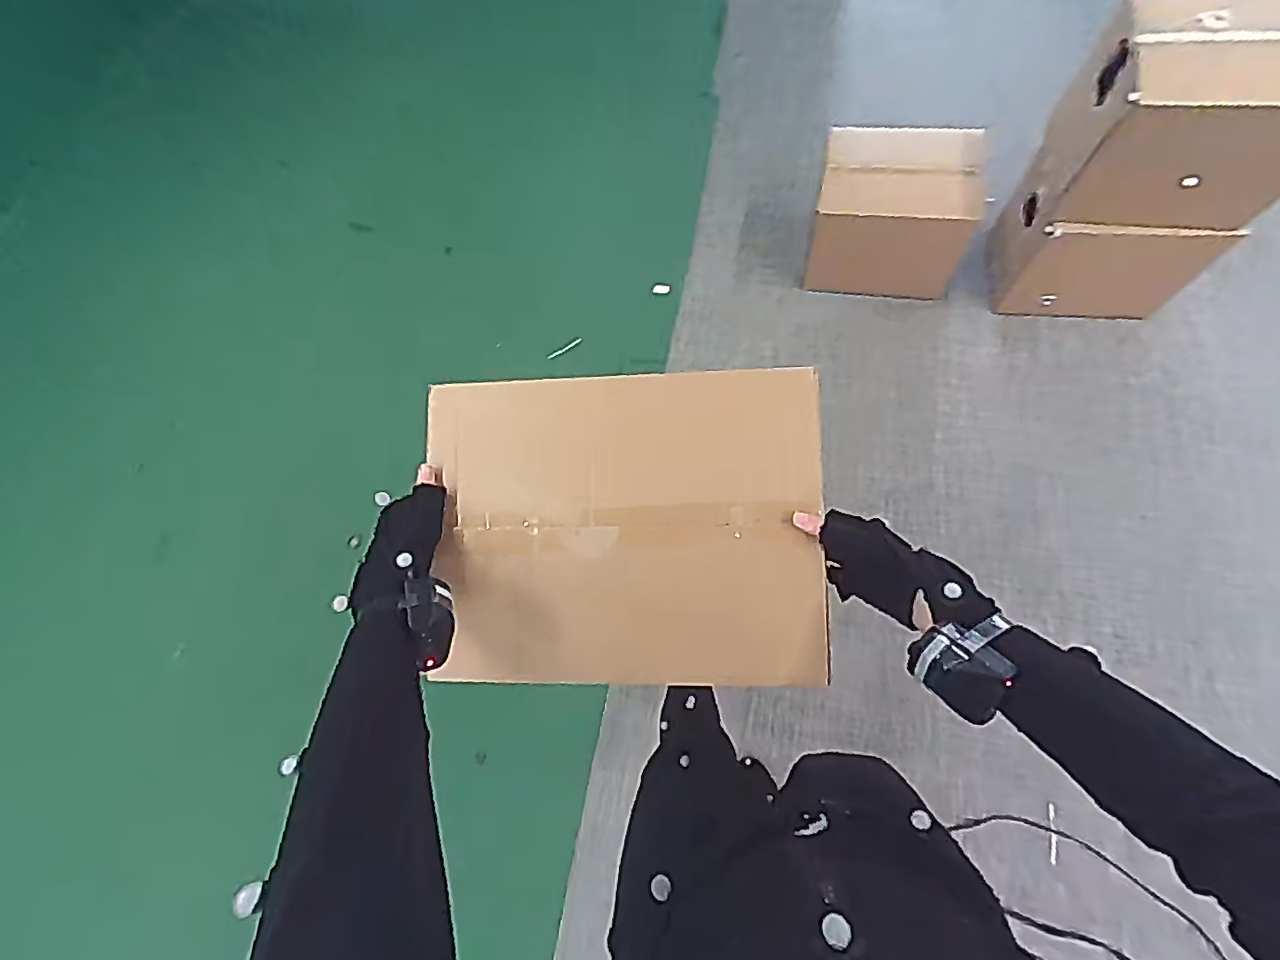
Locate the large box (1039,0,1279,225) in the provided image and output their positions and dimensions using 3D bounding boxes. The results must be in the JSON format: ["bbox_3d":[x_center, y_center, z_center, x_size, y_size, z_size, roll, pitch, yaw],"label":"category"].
[{"bbox_3d":[1.162,-0.785,1.164,0.408,0.320,0.320,8,75,12],"label":"large box"}]
